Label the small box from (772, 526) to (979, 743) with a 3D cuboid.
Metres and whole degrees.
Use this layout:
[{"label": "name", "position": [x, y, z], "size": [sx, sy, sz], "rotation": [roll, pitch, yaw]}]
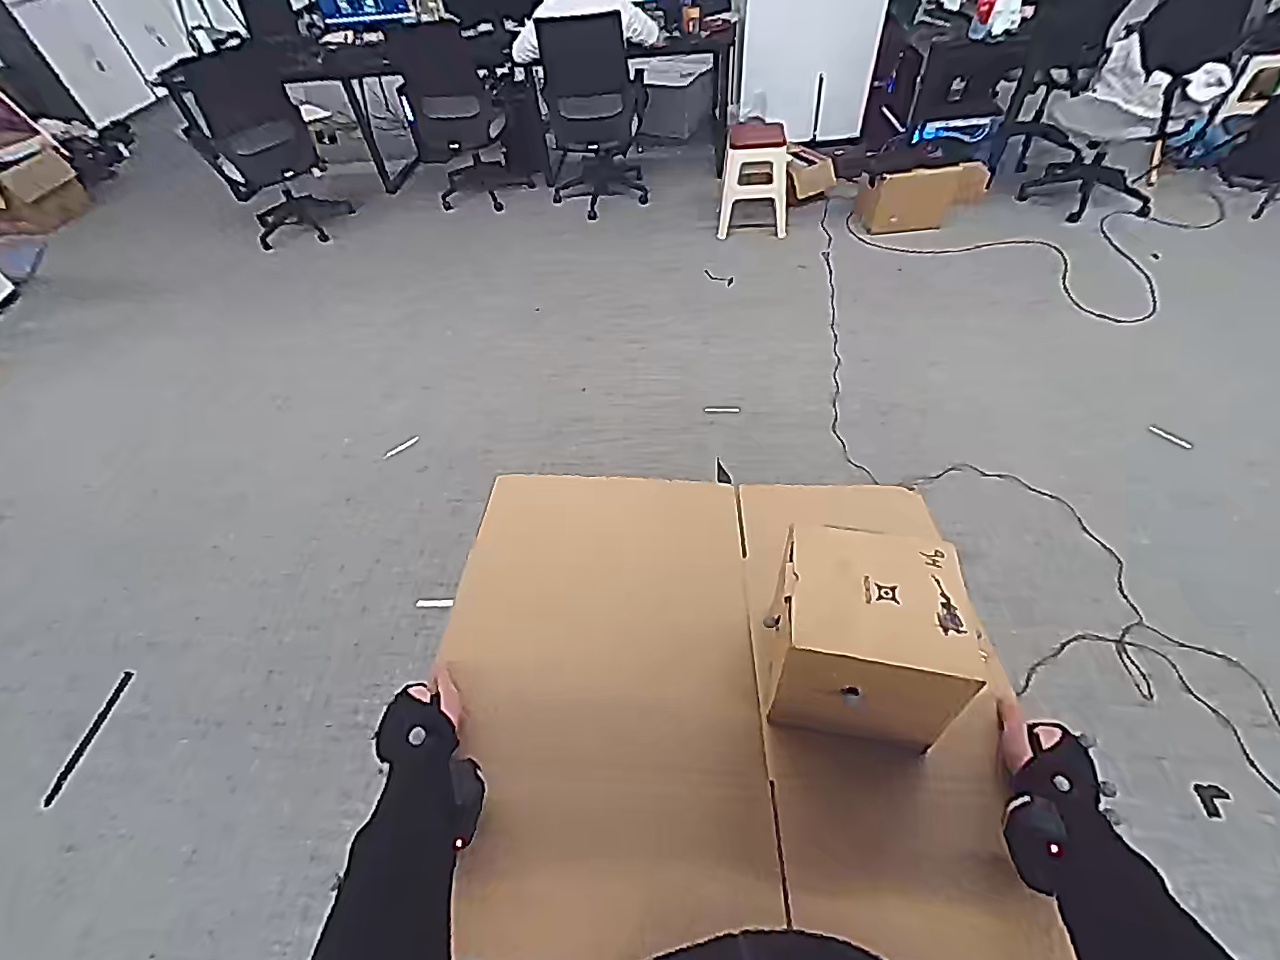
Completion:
[{"label": "small box", "position": [0.249, 0.176, 0.618], "size": [0.179, 0.176, 0.168], "rotation": [7, 45, 11]}]
